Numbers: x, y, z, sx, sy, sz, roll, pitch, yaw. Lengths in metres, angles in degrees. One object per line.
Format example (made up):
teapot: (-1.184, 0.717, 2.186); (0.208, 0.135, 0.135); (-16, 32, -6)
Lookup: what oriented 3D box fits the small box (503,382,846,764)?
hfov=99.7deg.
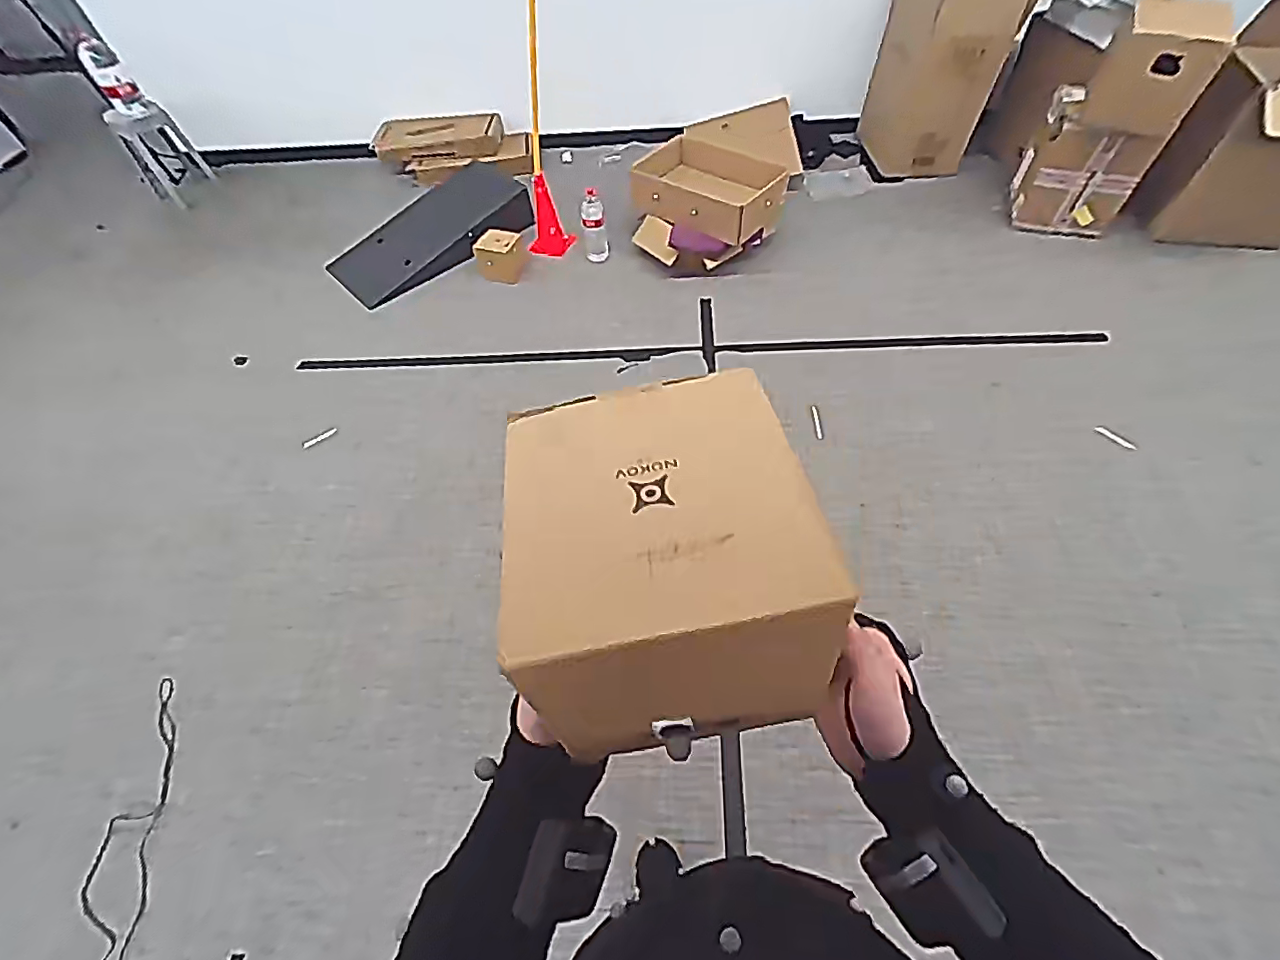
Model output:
small box: (0.015, 0.064, 0.366); (0.168, 0.176, 0.179); (-12, 48, 0)
